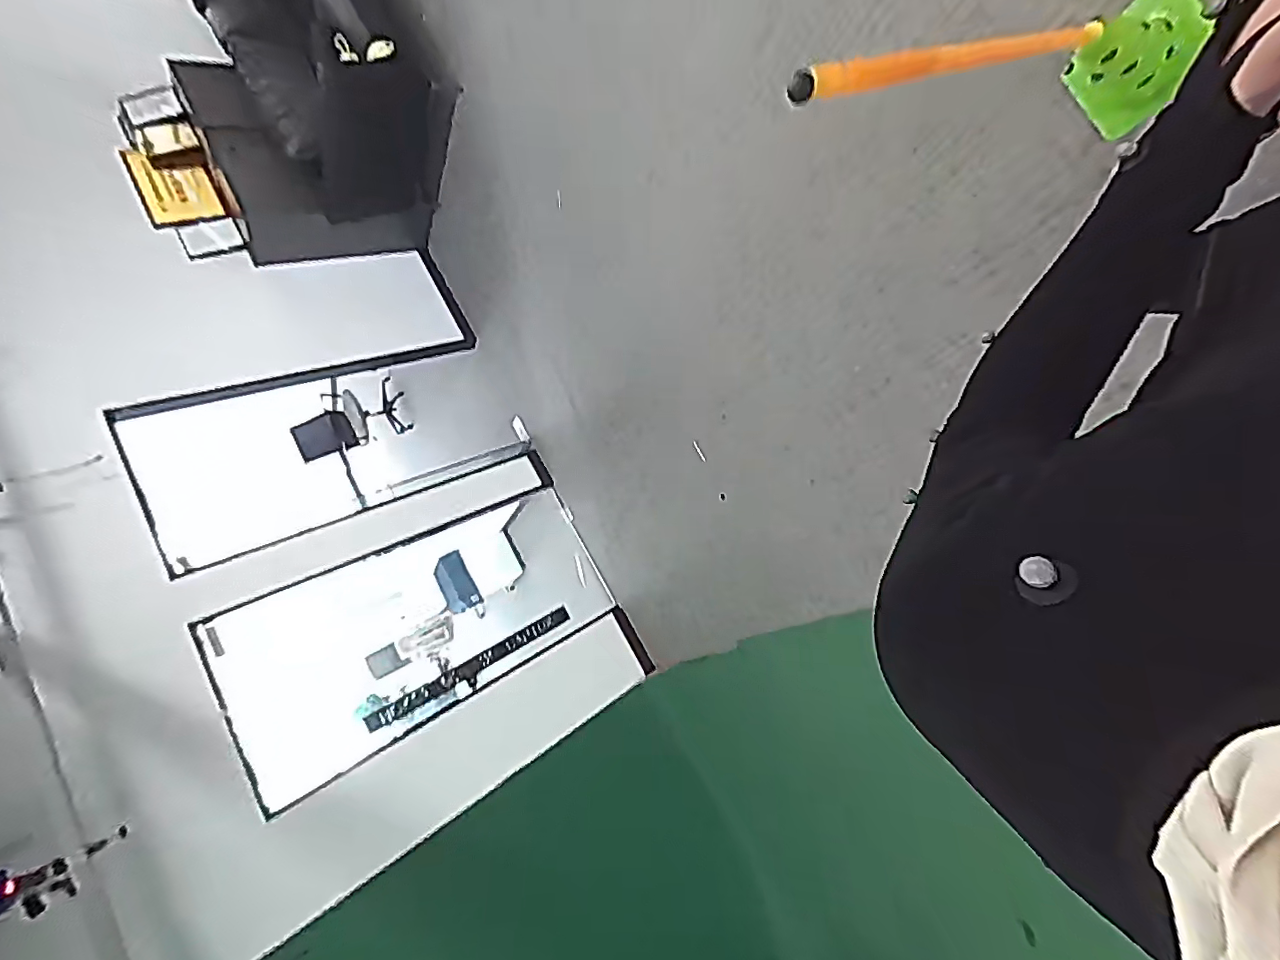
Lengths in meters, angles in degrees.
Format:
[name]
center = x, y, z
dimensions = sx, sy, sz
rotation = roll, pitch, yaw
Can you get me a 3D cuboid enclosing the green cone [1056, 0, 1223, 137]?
[green cone]
center = 0.862, -0.782, 0.982
dimensions = 0.200, 0.368, 0.202
rotation = 61, 144, 6
